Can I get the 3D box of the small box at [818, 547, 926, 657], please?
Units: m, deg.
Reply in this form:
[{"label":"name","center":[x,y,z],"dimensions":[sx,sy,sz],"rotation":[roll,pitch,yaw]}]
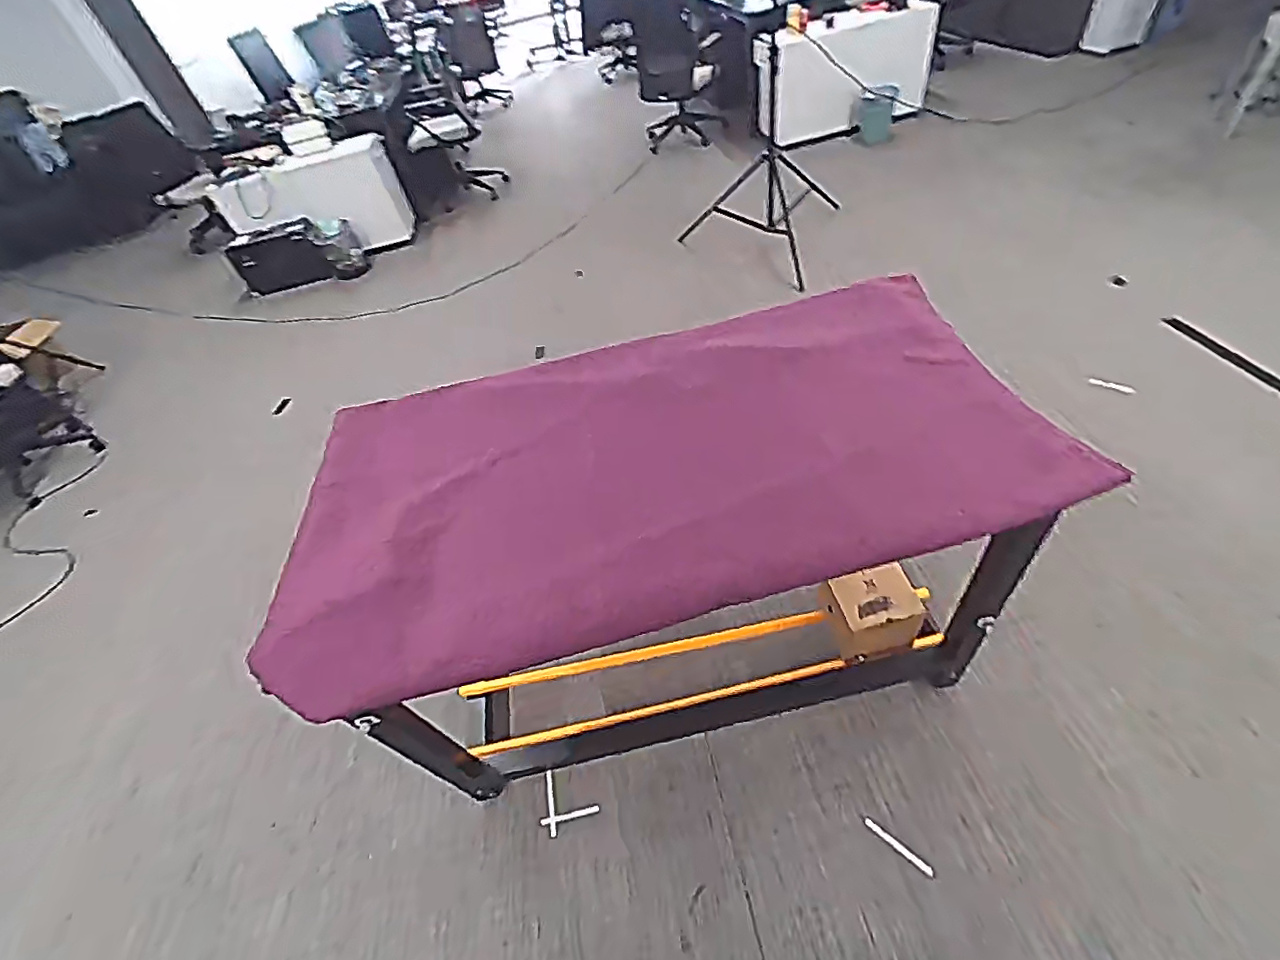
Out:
[{"label":"small box","center":[0.520,0.287,1.237],"dimensions":[0.168,0.176,0.179],"rotation":[-14,46,1]}]
